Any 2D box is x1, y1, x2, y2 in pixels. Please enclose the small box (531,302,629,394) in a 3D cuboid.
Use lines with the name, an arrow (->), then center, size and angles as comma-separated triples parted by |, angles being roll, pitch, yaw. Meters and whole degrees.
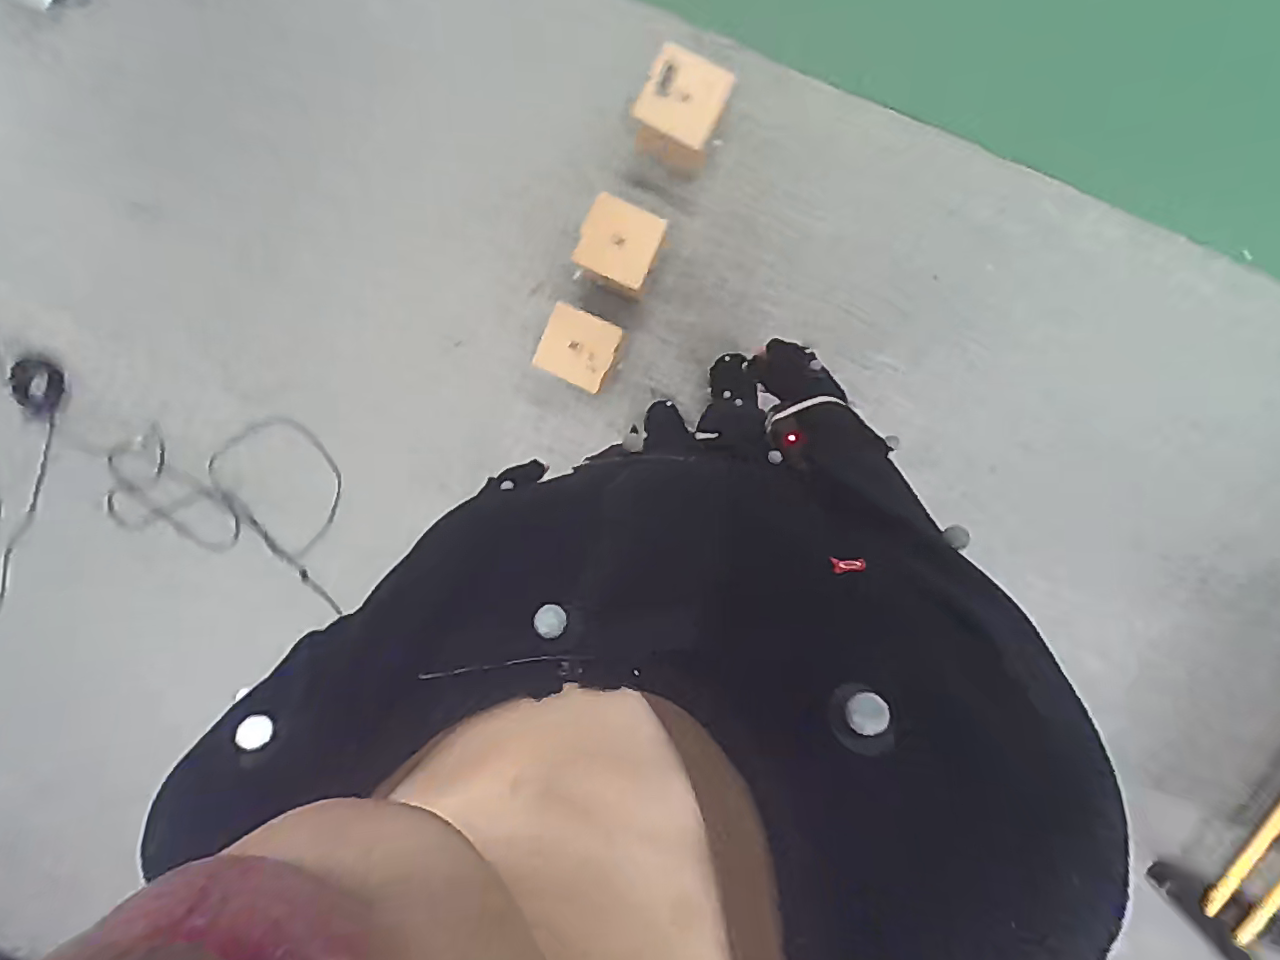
small box -> -0.144, -0.322, 1.355 | 0.179, 0.176, 0.168 | 24, 101, 1

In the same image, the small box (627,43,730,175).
small box -> 0.089, -0.845, 1.253 | 0.179, 0.176, 0.168 | 27, 101, 0

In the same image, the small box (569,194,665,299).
small box -> -0.047, -0.554, 1.313 | 0.179, 0.176, 0.168 | 23, 100, 2
